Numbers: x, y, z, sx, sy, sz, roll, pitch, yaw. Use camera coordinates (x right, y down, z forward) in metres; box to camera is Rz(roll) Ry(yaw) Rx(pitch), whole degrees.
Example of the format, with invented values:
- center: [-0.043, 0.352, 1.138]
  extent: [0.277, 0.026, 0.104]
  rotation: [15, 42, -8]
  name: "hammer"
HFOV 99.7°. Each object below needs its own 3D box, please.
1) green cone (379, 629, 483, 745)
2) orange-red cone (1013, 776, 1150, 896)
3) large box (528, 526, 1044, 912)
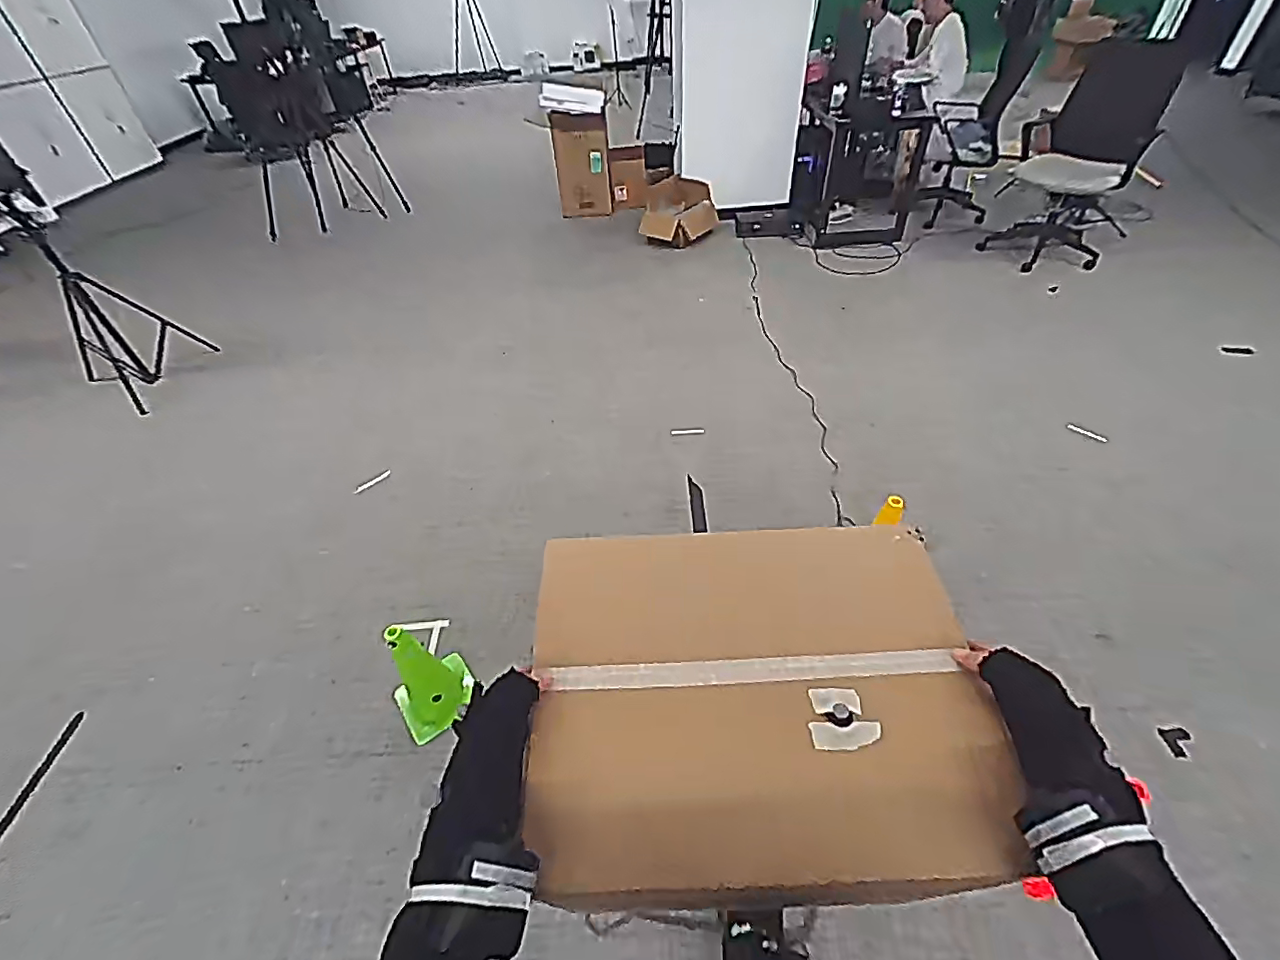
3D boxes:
- center: [-0.585, 0.496, 1.419]
  extent: [0.202, 0.368, 0.200]
  rotation: [-32, 49, -24]
  name: "green cone"
- center: [0.907, 0.680, 1.094]
  extent: [0.198, 0.360, 0.199]
  rotation: [-5, 42, -1]
  name: "orange-red cone"
- center: [0.108, 0.275, 0.616]
  extent: [0.408, 0.320, 0.320]
  rotation: [-2, 49, 0]
  name: "large box"
